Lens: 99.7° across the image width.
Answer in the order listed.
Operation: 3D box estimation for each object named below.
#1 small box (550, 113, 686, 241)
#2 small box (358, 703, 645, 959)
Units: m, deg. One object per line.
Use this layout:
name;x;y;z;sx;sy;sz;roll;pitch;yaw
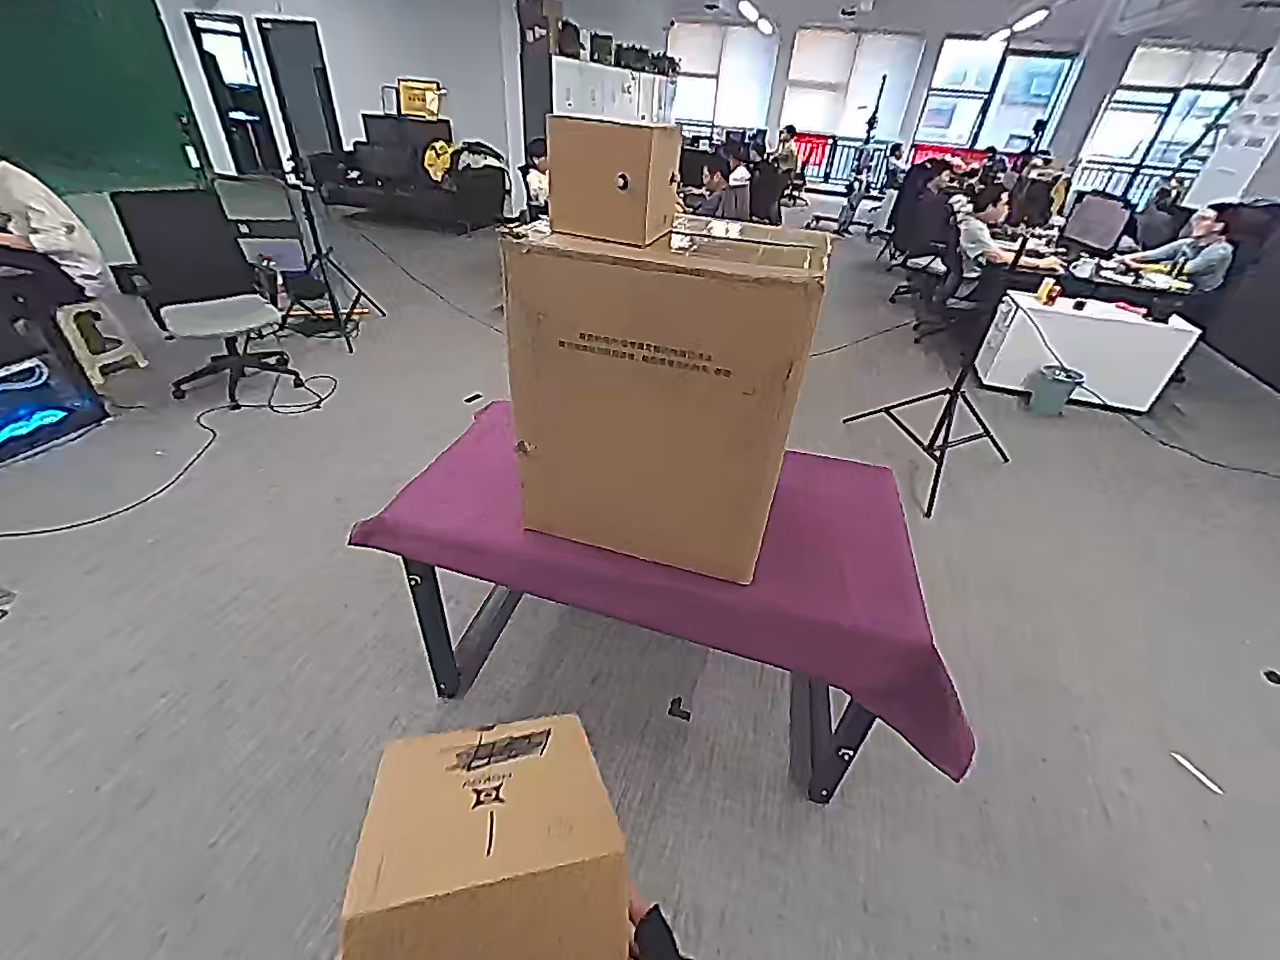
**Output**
small box;-0.035;-0.509;0.910;0.179;0.176;0.168;14;36;13
small box;-0.100;0.293;0.398;0.168;0.176;0.179;-1;5;-17
